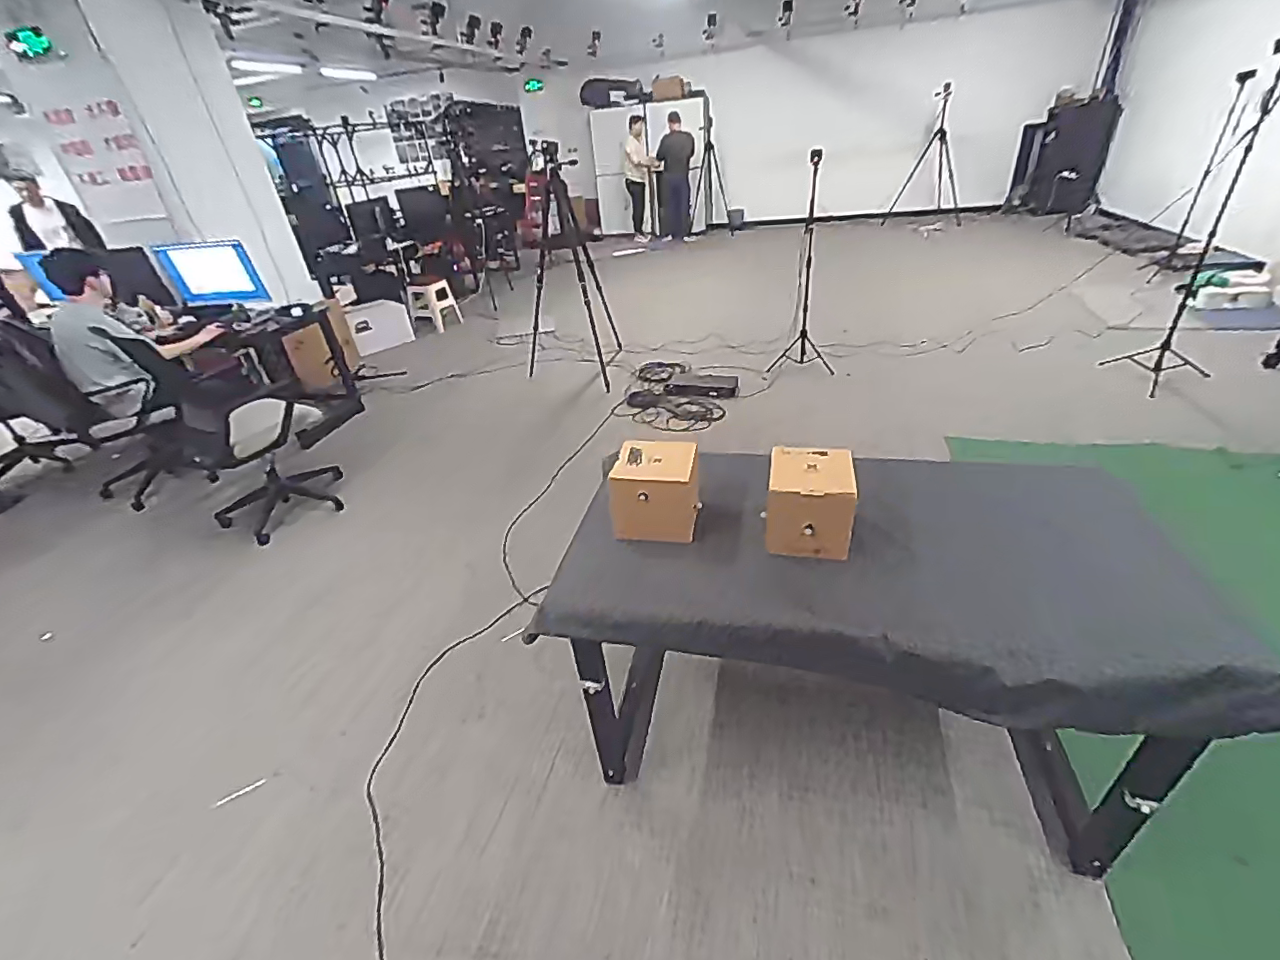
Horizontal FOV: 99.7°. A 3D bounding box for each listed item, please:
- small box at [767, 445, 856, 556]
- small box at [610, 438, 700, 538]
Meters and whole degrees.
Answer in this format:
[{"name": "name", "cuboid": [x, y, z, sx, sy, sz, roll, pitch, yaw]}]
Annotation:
[{"name": "small box", "cuboid": [0.361, 0.043, 1.153, 0.168, 0.176, 0.179, 4, 35, 15]}, {"name": "small box", "cuboid": [0.042, 0.018, 1.240, 0.179, 0.176, 0.168, 3, 34, 12]}]
